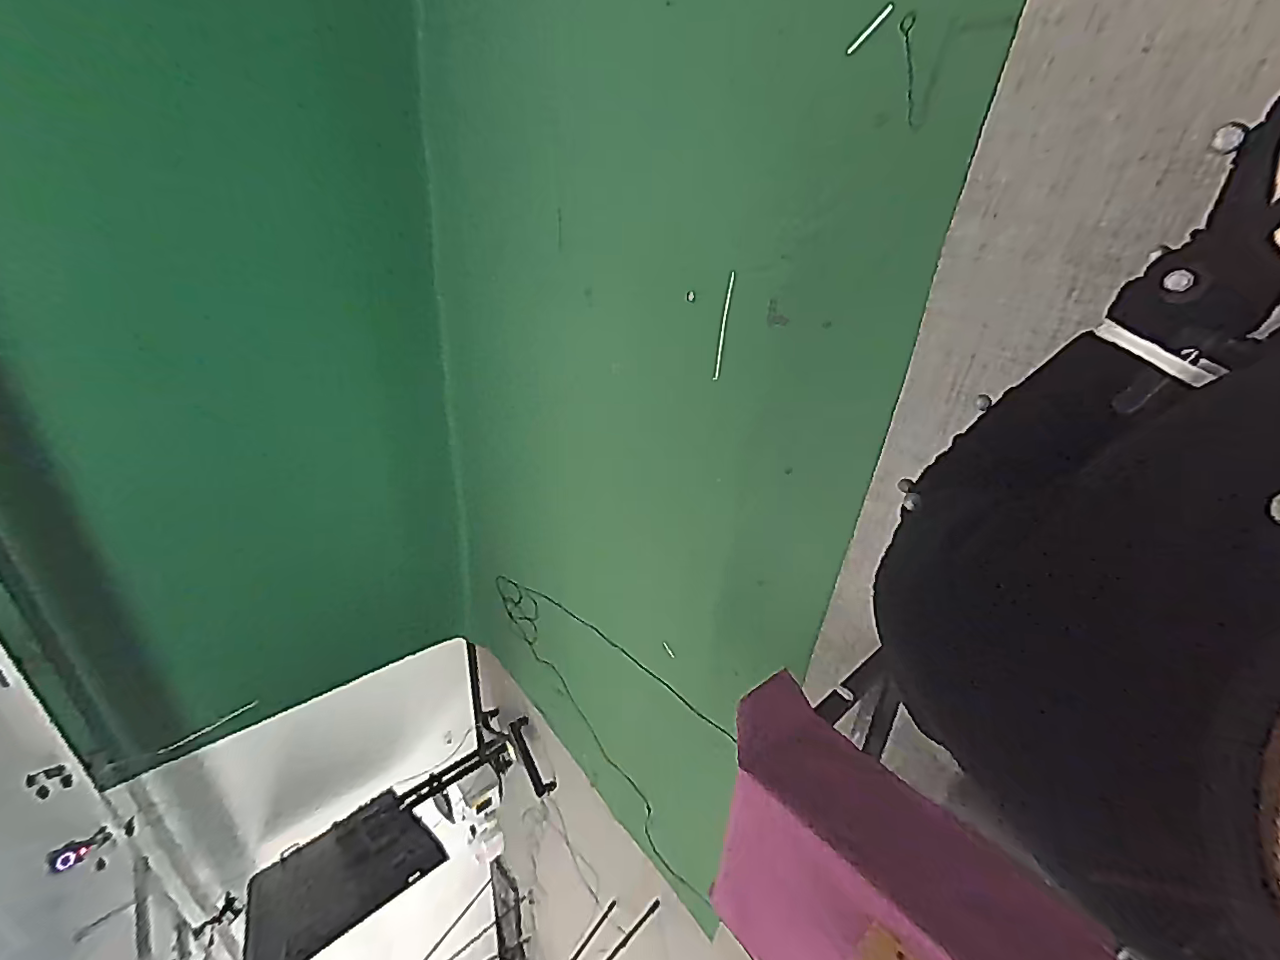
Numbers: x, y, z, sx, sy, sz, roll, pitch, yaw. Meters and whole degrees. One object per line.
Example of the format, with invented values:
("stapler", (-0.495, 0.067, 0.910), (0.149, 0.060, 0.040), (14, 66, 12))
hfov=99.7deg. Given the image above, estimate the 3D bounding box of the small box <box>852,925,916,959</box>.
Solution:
("small box", (0.454, 0.998, 1.005), (0.168, 0.176, 0.179), (31, 128, 39))
